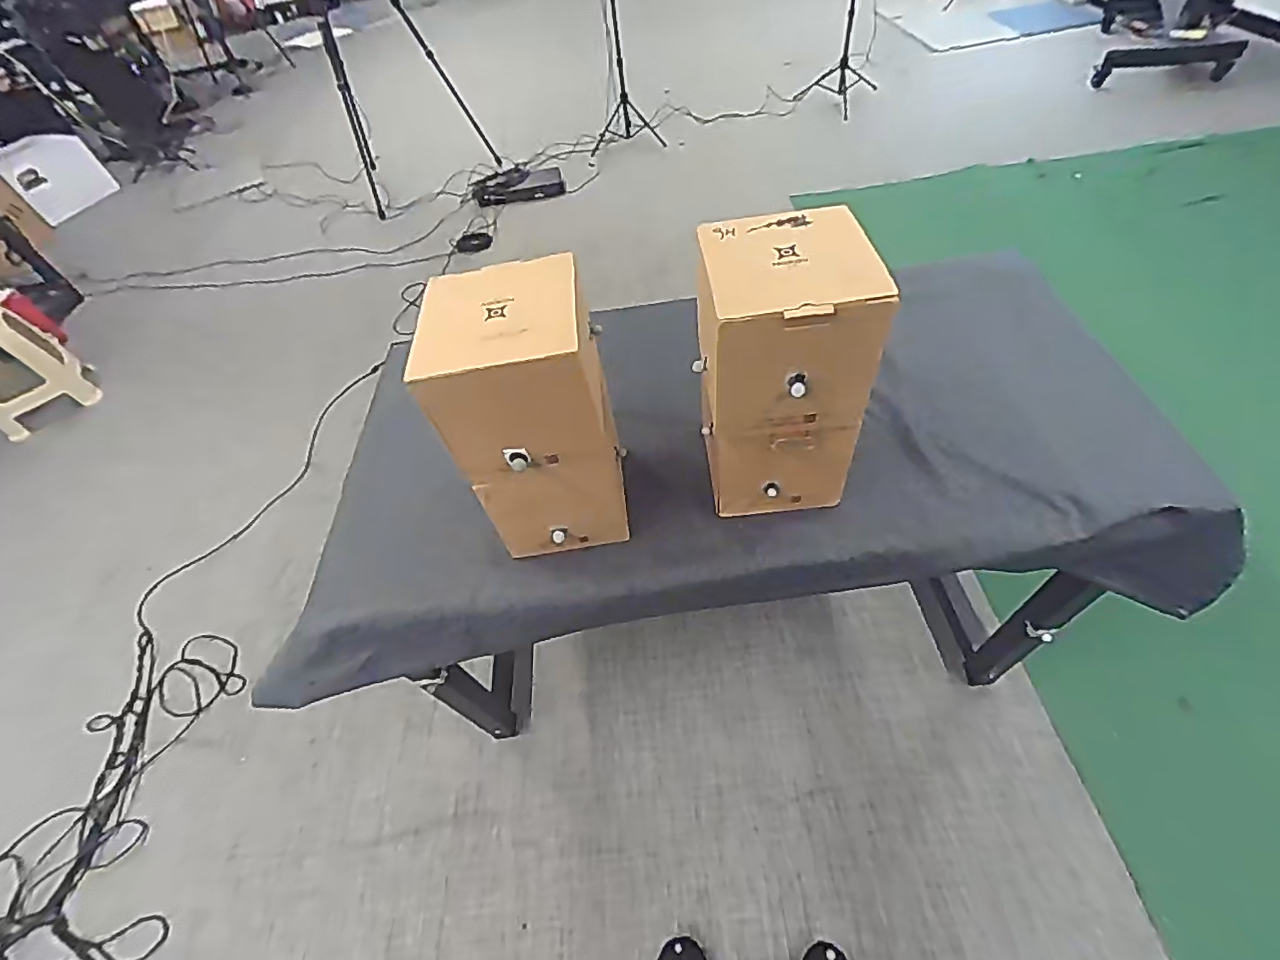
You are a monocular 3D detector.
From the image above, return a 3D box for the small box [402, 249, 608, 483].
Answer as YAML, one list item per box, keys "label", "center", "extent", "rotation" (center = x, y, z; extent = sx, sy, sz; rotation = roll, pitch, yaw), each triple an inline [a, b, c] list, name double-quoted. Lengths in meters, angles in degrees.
- label: "small box"
  center: [-0.134, -0.122, 0.599]
  extent: [0.168, 0.176, 0.179]
  rotation: [-10, 53, 2]

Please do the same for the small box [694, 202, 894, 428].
- label: "small box"
  center: [0.153, -0.172, 0.597]
  extent: [0.168, 0.176, 0.179]
  rotation: [-6, 53, 3]

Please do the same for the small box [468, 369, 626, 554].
- label: "small box"
  center: [-0.115, -0.024, 0.727]
  extent: [0.168, 0.176, 0.179]
  rotation: [-9, 52, 1]

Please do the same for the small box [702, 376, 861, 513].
- label: "small box"
  center: [0.174, -0.078, 0.729]
  extent: [0.168, 0.176, 0.179]
  rotation: [-6, 52, 3]
